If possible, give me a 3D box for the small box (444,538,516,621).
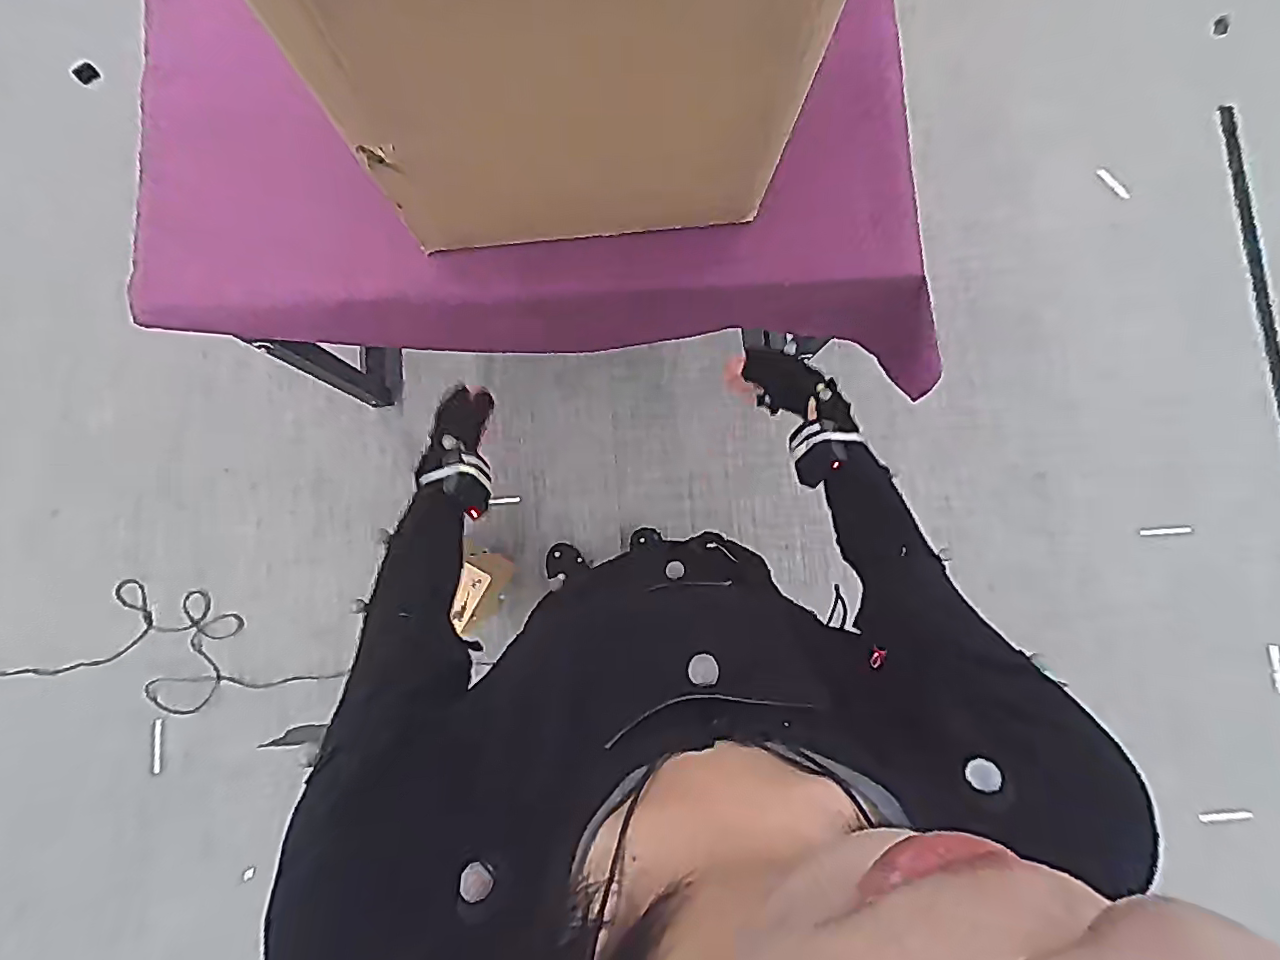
[{"bbox_3d":[-0.449,0.264,1.415,0.179,0.176,0.168,27,84,0],"label":"small box"}]

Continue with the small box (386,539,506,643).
[{"bbox_3d":[-0.438,0.251,1.251,0.179,0.176,0.168,29,84,1],"label":"small box"}]
